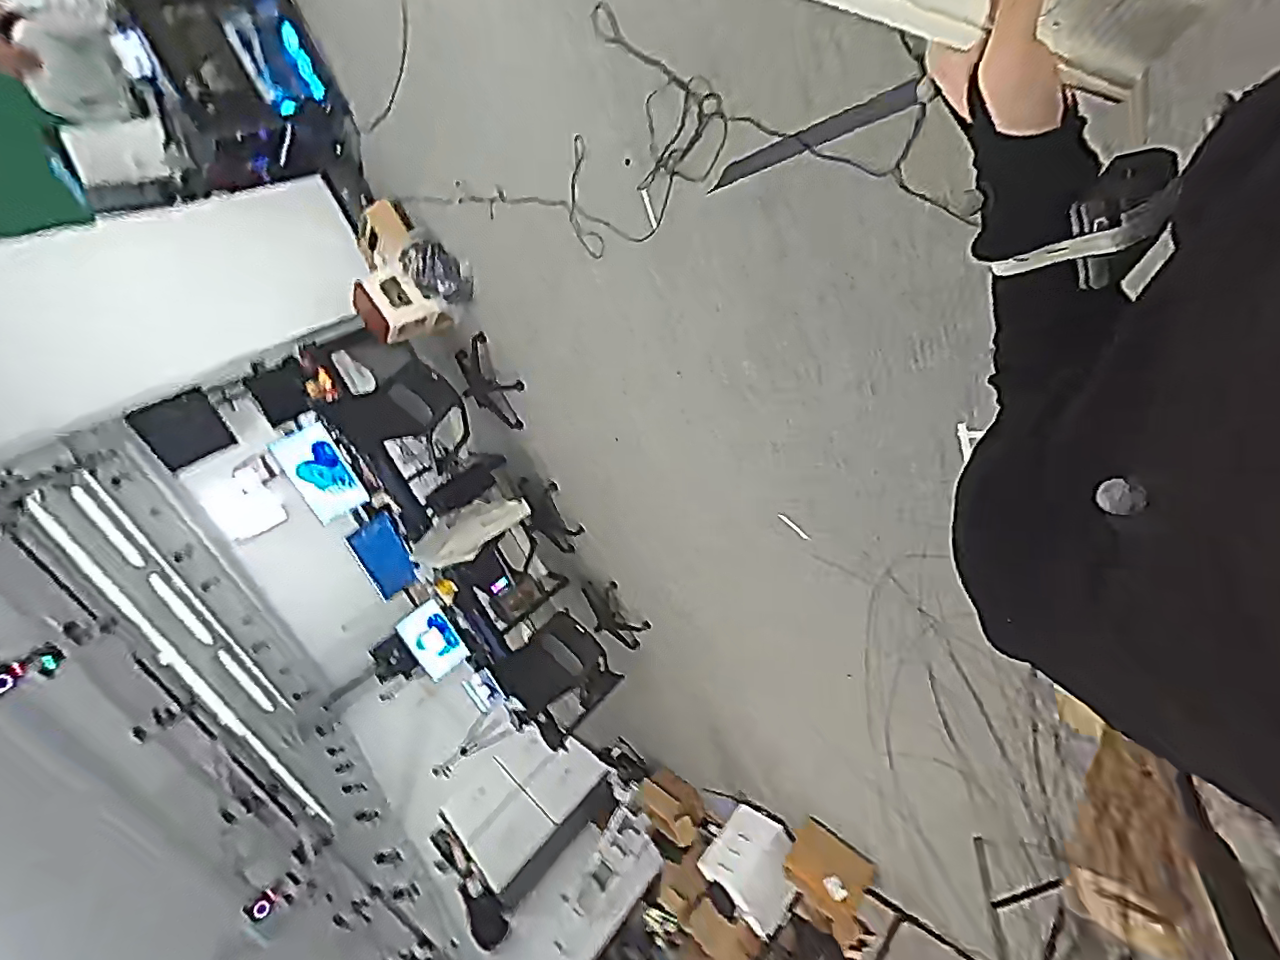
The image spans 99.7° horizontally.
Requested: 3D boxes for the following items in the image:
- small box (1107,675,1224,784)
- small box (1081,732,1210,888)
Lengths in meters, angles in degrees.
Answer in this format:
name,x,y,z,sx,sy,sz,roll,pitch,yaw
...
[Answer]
name,x,y,z,sx,sy,sz,roll,pitch,yaw
small box,1.136,0.565,1.180,0.168,0.176,0.179,14,132,47
small box,1.026,0.658,1.100,0.168,0.176,0.179,11,129,49
